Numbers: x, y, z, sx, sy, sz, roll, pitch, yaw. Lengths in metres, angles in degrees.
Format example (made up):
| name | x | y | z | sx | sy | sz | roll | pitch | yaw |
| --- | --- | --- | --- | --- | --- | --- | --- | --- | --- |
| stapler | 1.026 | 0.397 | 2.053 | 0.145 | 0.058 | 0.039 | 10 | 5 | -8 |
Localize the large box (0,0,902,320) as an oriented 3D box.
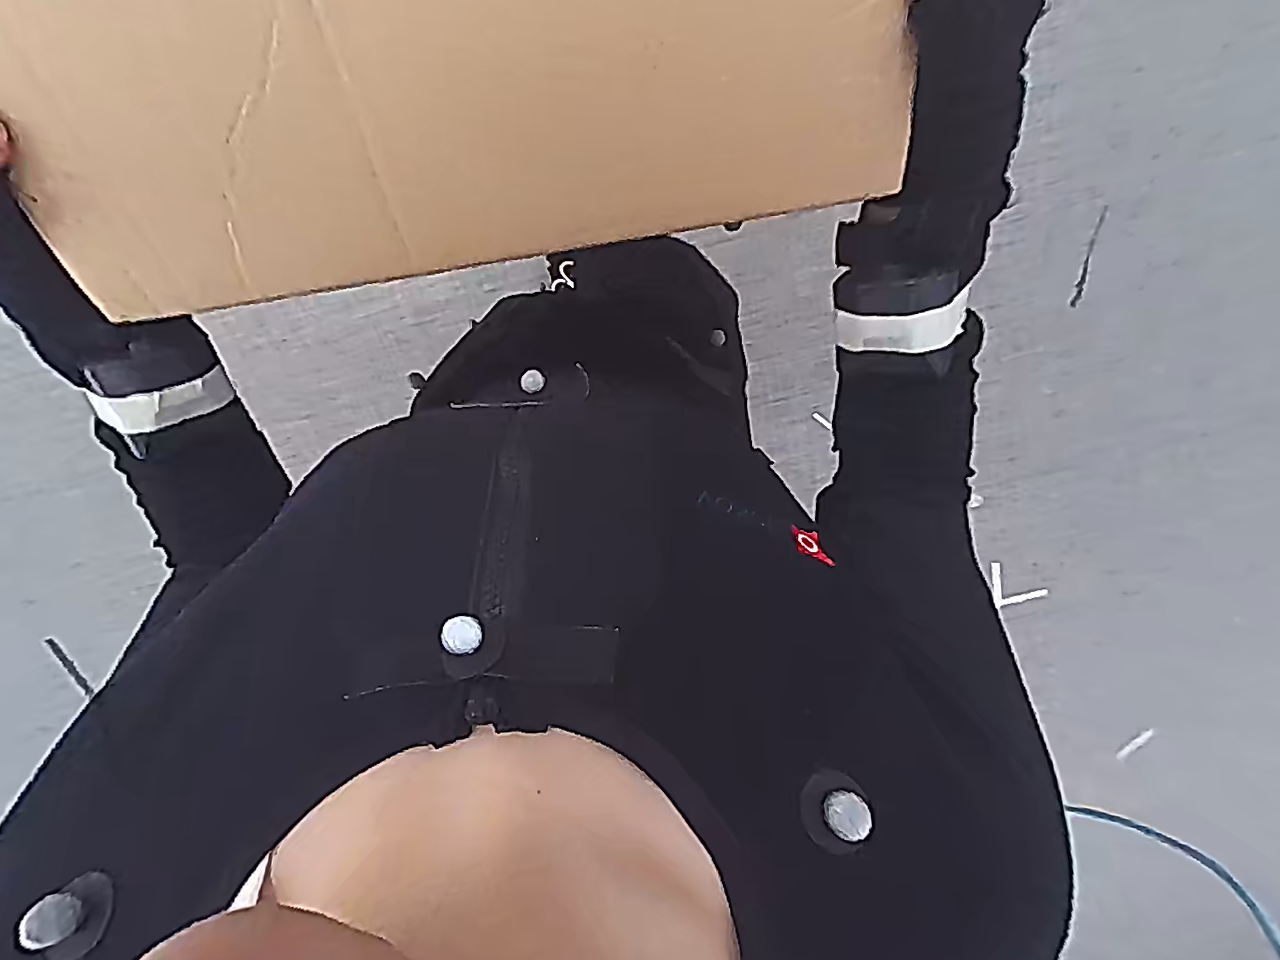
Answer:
| name | x | y | z | sx | sy | sz | roll | pitch | yaw |
| --- | --- | --- | --- | --- | --- | --- | --- | --- | --- |
| large box | -0.103 | -0.324 | 0.308 | 0.408 | 0.320 | 0.320 | -8 | 126 | 4 |
